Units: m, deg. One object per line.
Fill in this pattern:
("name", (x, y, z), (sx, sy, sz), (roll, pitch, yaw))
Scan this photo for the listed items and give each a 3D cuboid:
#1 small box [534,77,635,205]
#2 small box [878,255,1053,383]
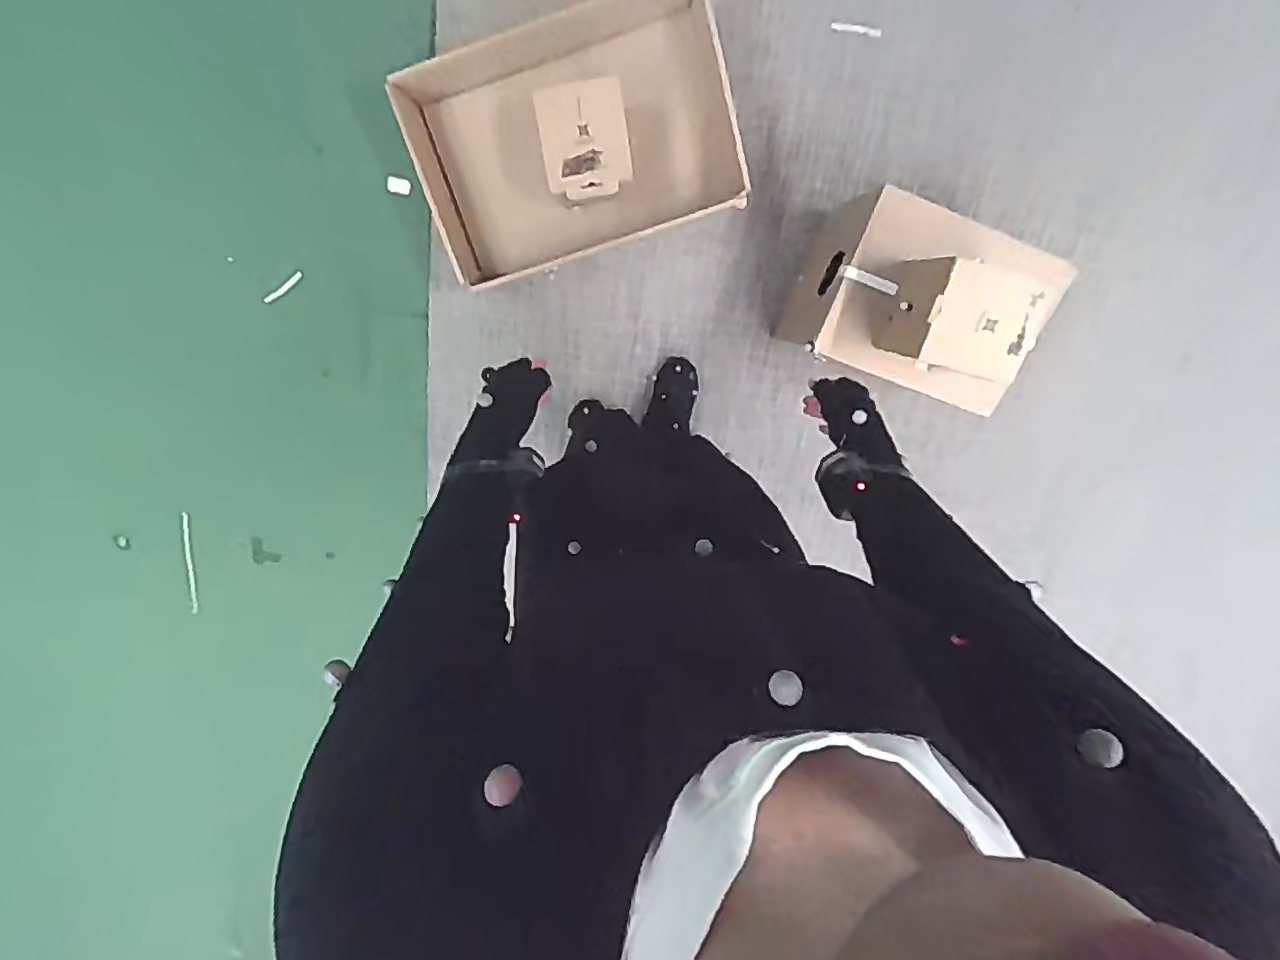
("small box", (-0.102, -0.668, 1.092), (0.168, 0.176, 0.179), (-8, 107, 3))
("small box", (0.552, -0.282, 0.949), (0.179, 0.176, 0.168), (14, 109, -4))
